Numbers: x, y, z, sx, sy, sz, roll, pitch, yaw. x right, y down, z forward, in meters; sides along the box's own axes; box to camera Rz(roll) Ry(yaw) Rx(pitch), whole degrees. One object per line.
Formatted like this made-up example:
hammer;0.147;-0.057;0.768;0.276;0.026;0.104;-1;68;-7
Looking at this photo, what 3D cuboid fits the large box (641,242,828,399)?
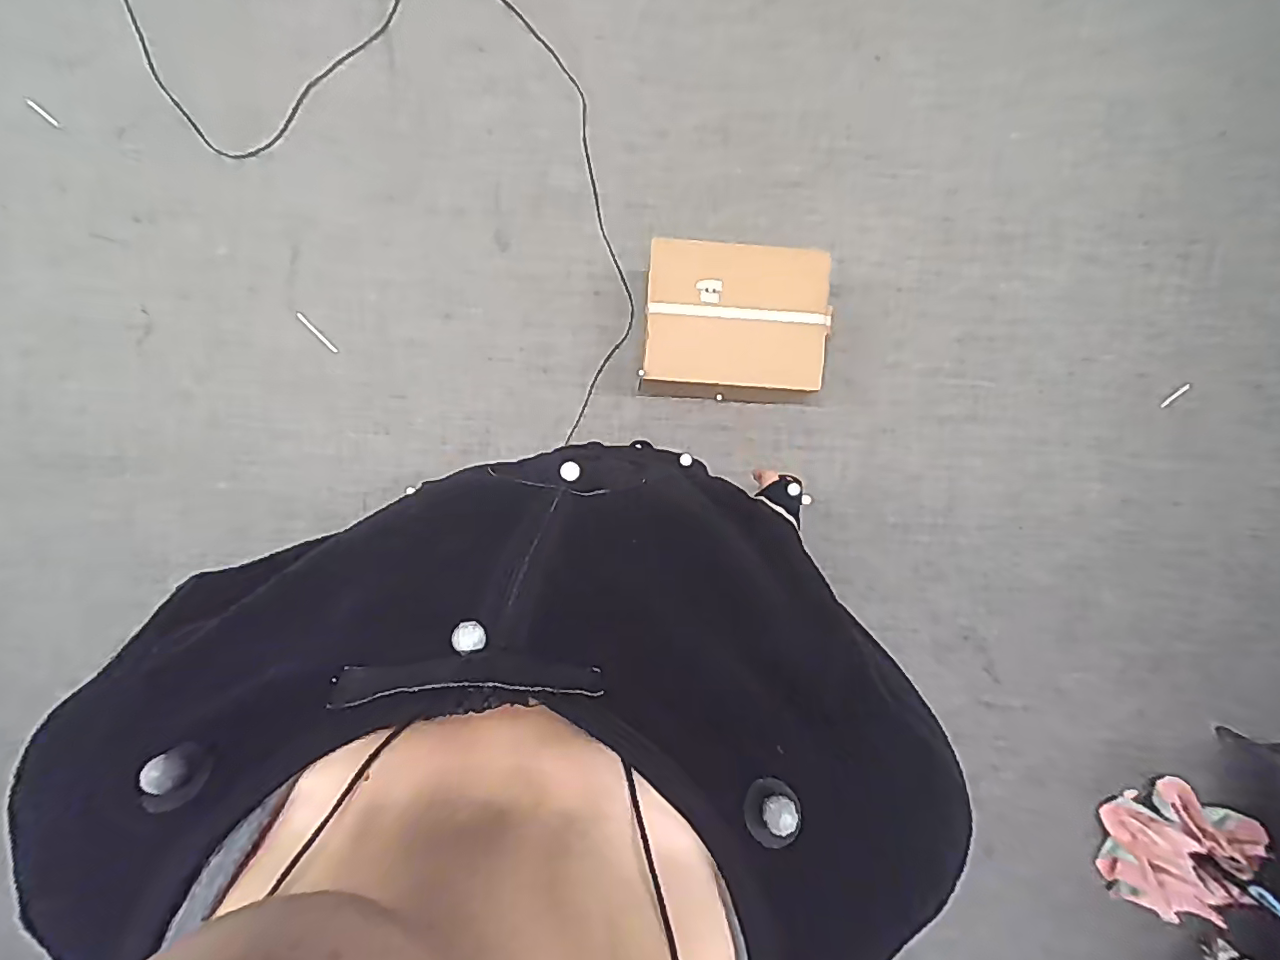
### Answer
large box;0.214;-0.375;1.354;0.408;0.320;0.320;4;93;-1
